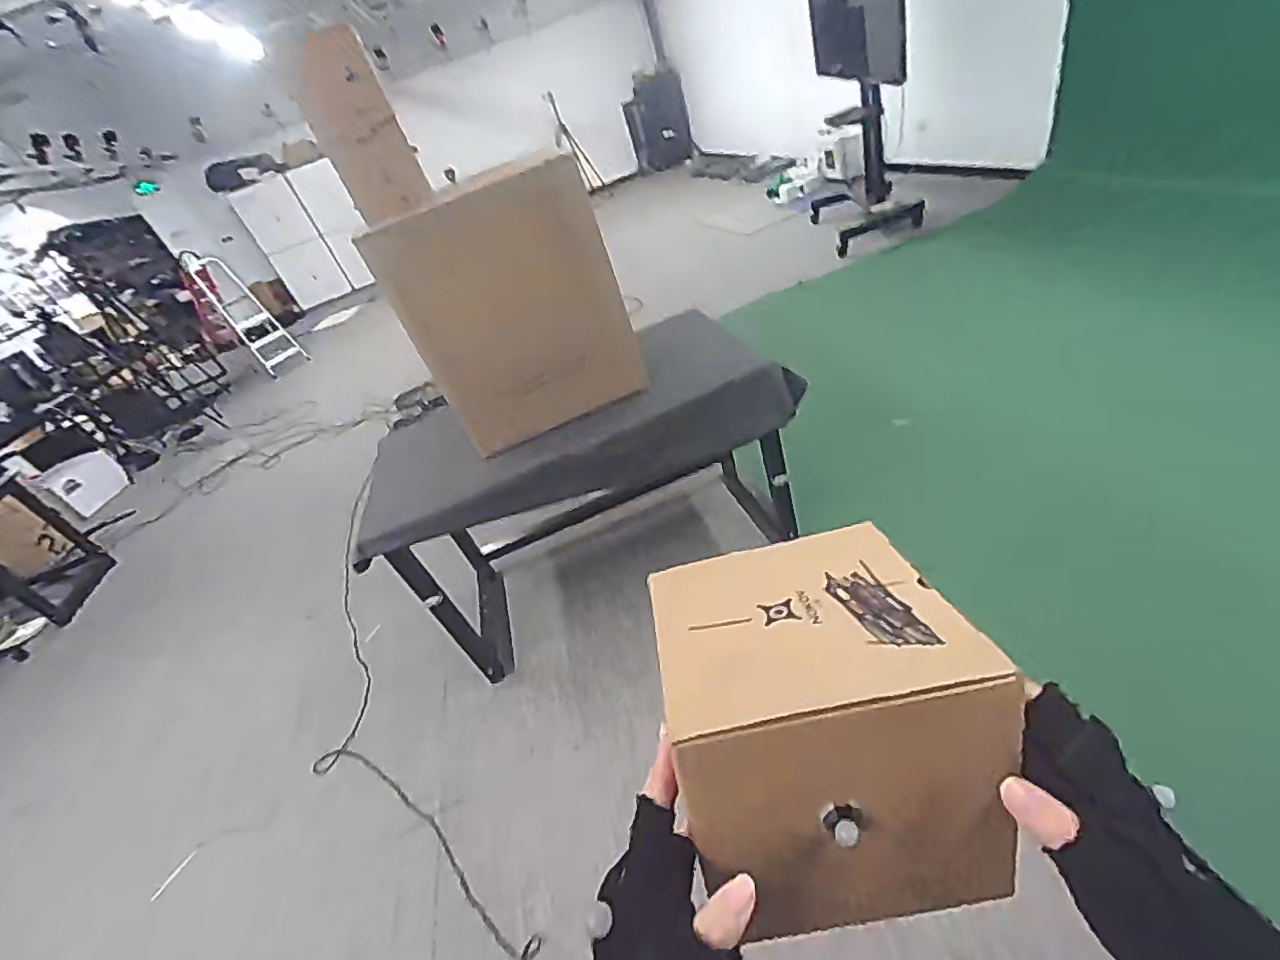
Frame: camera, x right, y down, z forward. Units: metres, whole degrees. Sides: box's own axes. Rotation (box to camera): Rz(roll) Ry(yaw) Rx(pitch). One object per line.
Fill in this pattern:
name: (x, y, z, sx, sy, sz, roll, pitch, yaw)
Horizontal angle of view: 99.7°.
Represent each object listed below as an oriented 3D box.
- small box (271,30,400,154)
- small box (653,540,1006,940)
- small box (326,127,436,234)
small box: (-0.626, -0.805, 1.138, 0.168, 0.176, 0.179, -24, 36, -6)
small box: (0.114, 0.167, 0.376, 0.179, 0.176, 0.168, -13, 19, 1)
small box: (-0.584, -0.686, 1.241, 0.168, 0.176, 0.179, -25, 38, -6)
